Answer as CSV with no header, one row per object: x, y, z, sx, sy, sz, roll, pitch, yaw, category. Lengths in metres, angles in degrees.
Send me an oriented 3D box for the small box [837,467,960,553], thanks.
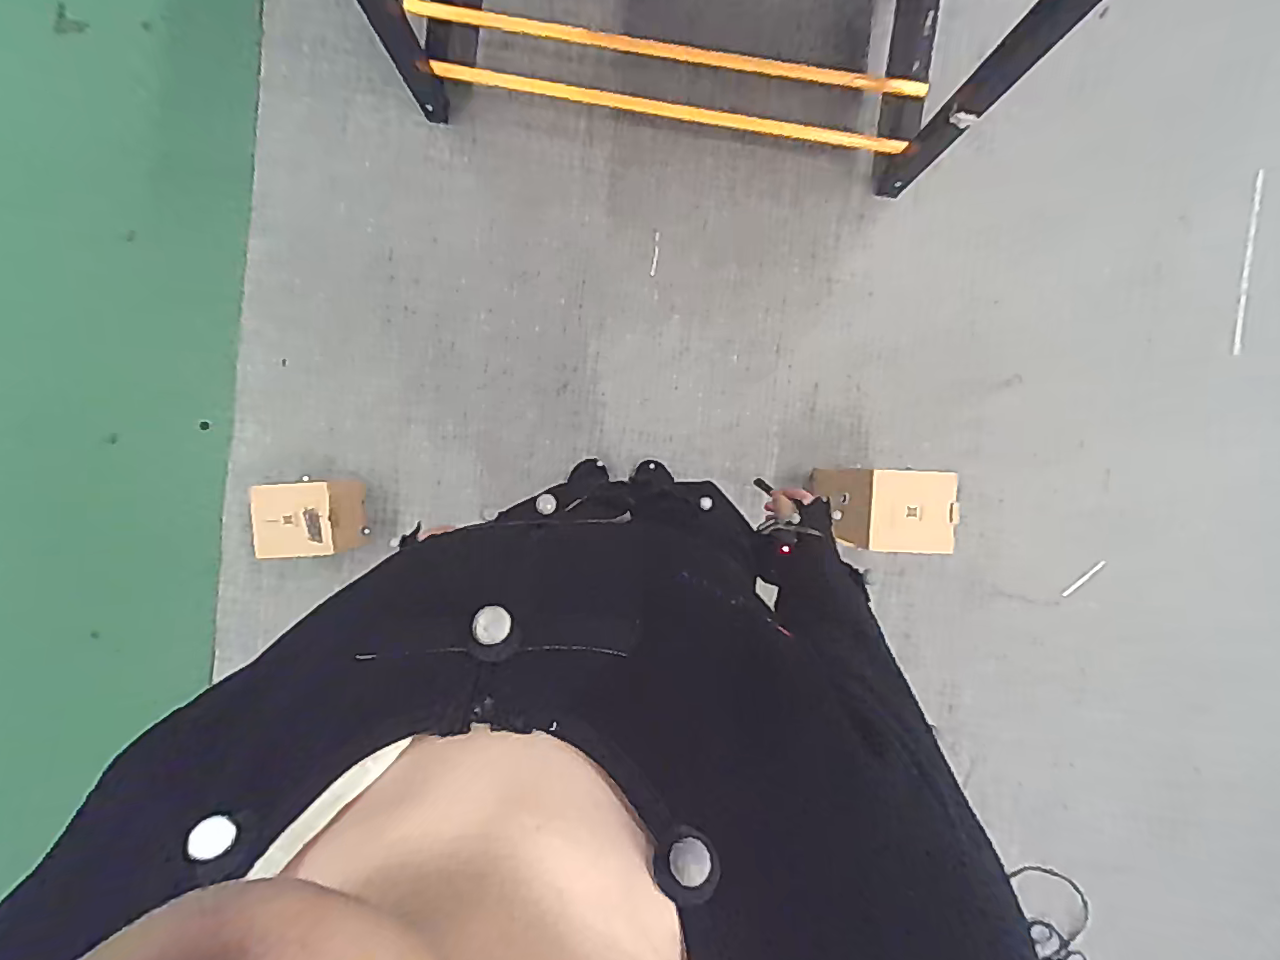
0.540,0.058,1.147,0.179,0.176,0.168,1,91,-1,small box

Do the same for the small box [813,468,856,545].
0.529,0.061,1.311,0.168,0.176,0.179,2,92,-2,small box

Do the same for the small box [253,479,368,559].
-0.763,0.087,1.275,0.179,0.176,0.168,-3,92,-1,small box
